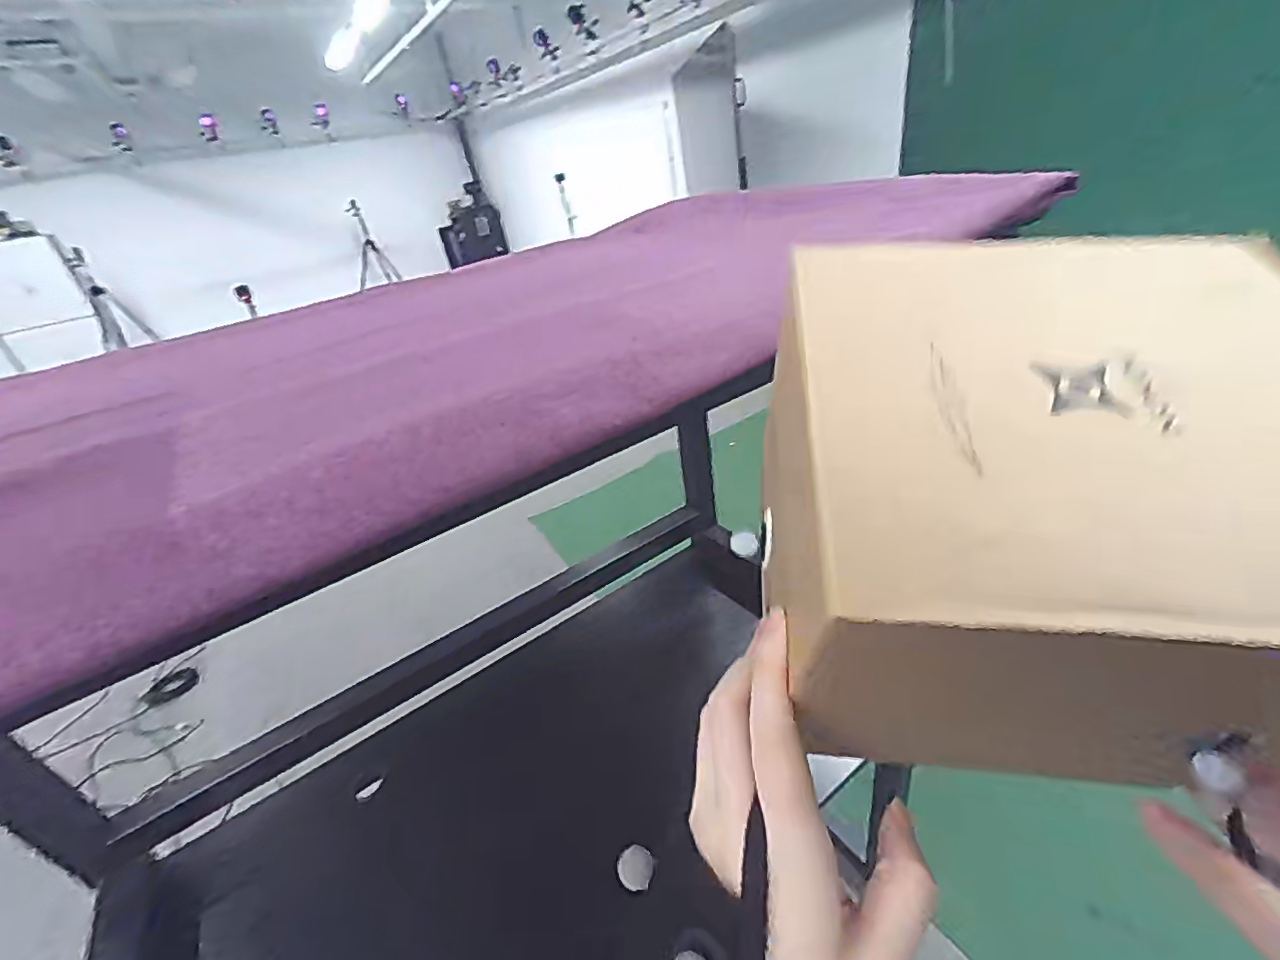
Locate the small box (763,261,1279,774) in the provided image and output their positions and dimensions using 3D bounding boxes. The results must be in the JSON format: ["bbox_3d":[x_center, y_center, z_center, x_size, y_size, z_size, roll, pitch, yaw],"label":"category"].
[{"bbox_3d":[0.154,0.023,0.247,0.179,0.176,0.168,2,52,9],"label":"small box"}]
